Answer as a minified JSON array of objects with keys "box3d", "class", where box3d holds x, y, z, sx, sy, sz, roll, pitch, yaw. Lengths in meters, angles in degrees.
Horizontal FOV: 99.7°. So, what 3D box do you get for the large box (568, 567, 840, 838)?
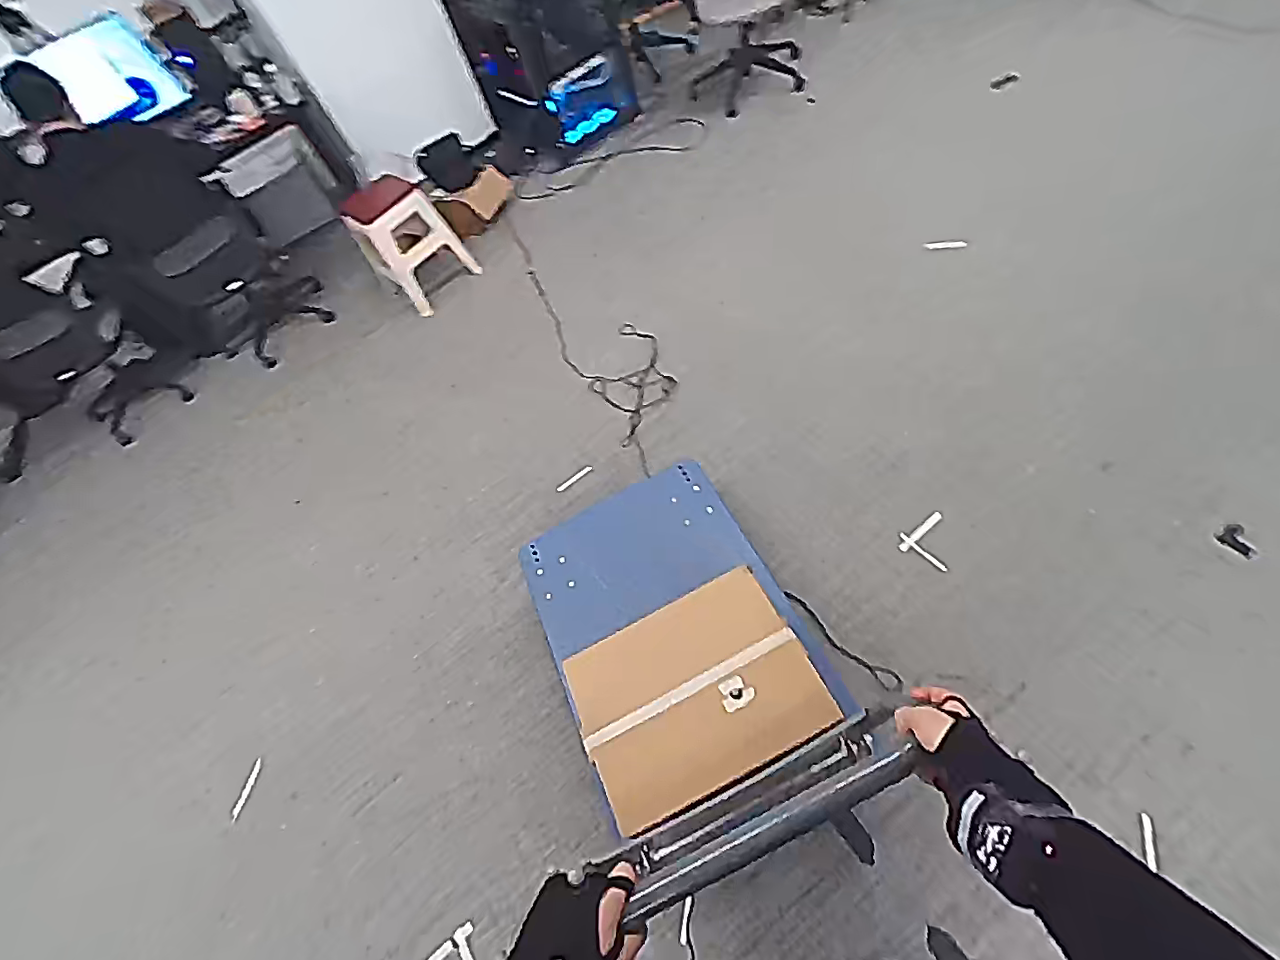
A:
[{"box3d":[0.128,0.449,1.075,0.408,0.320,0.320,-28,55,-3],"class":"large box"}]
